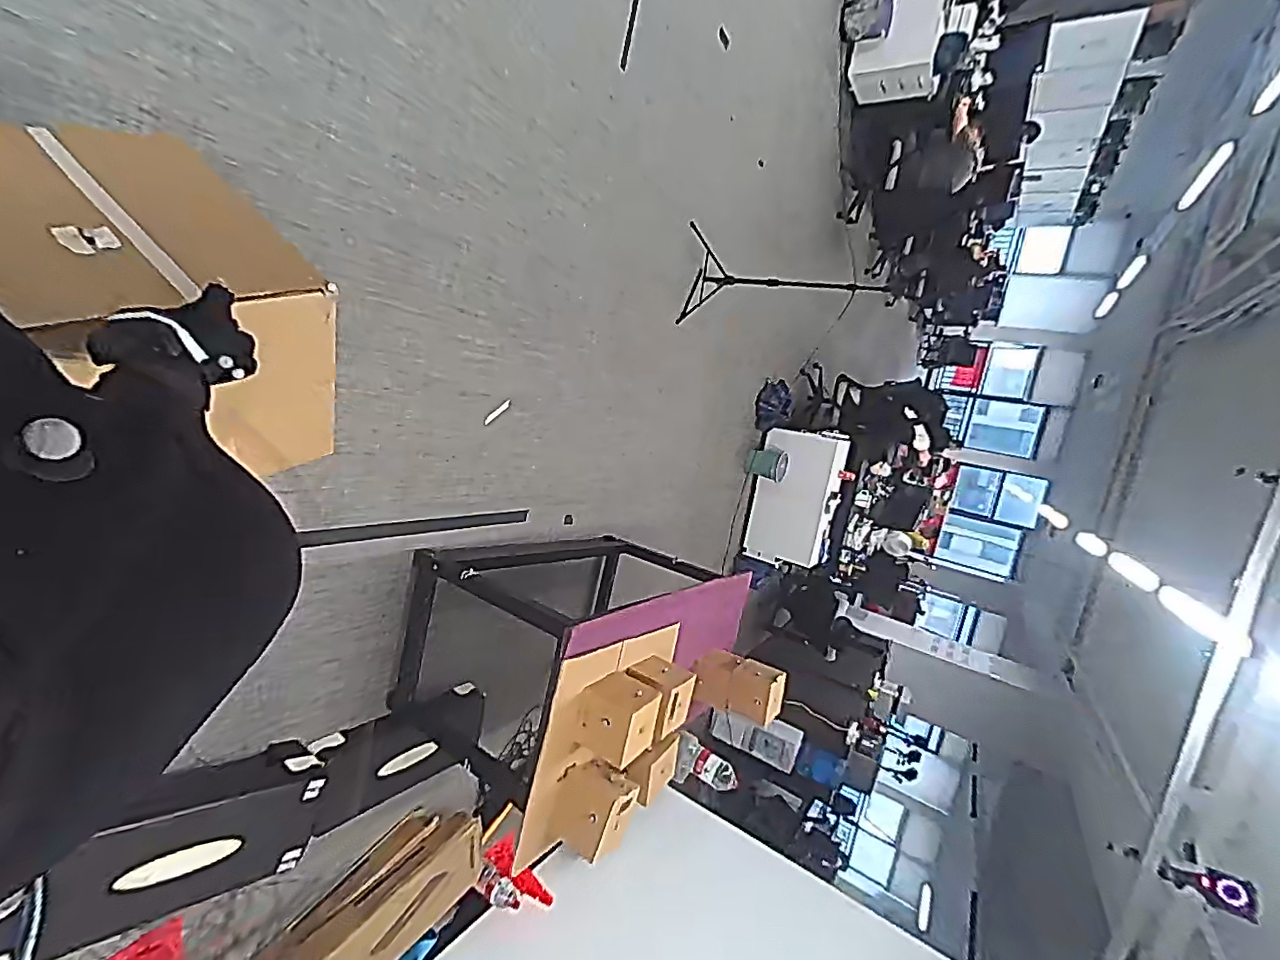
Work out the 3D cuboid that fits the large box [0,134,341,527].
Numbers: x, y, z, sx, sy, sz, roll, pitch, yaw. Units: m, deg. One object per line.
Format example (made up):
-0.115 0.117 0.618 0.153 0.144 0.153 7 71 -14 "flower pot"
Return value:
-0.690 -0.215 0.756 0.320 0.408 0.320 -35 162 -46 "large box"
